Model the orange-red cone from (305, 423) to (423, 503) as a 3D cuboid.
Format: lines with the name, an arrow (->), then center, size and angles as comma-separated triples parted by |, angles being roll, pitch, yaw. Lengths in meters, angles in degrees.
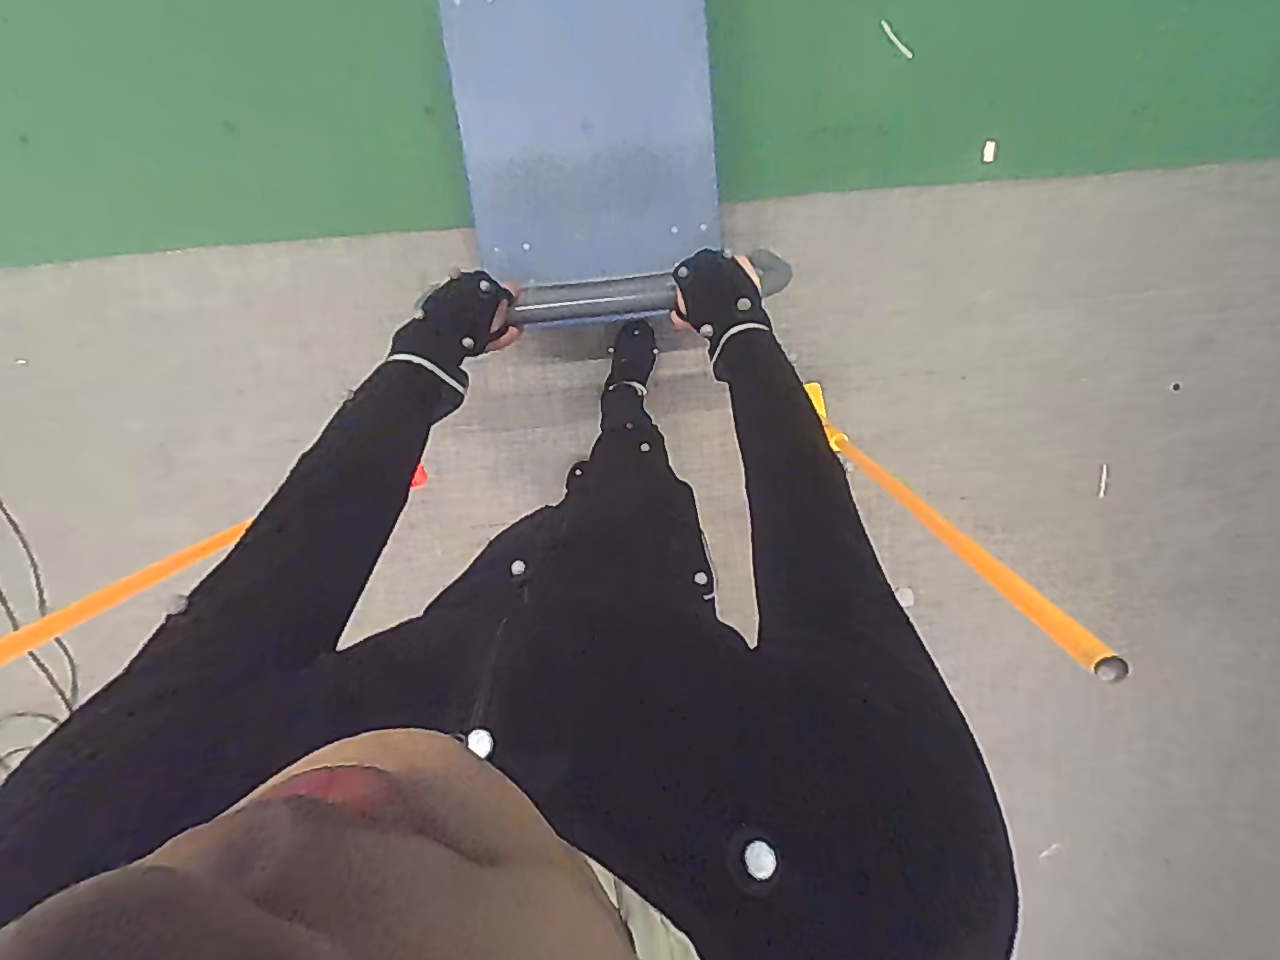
orange-red cone -> -0.731, -0.007, 1.367 | 0.199, 0.360, 0.198 | -19, 103, 3
